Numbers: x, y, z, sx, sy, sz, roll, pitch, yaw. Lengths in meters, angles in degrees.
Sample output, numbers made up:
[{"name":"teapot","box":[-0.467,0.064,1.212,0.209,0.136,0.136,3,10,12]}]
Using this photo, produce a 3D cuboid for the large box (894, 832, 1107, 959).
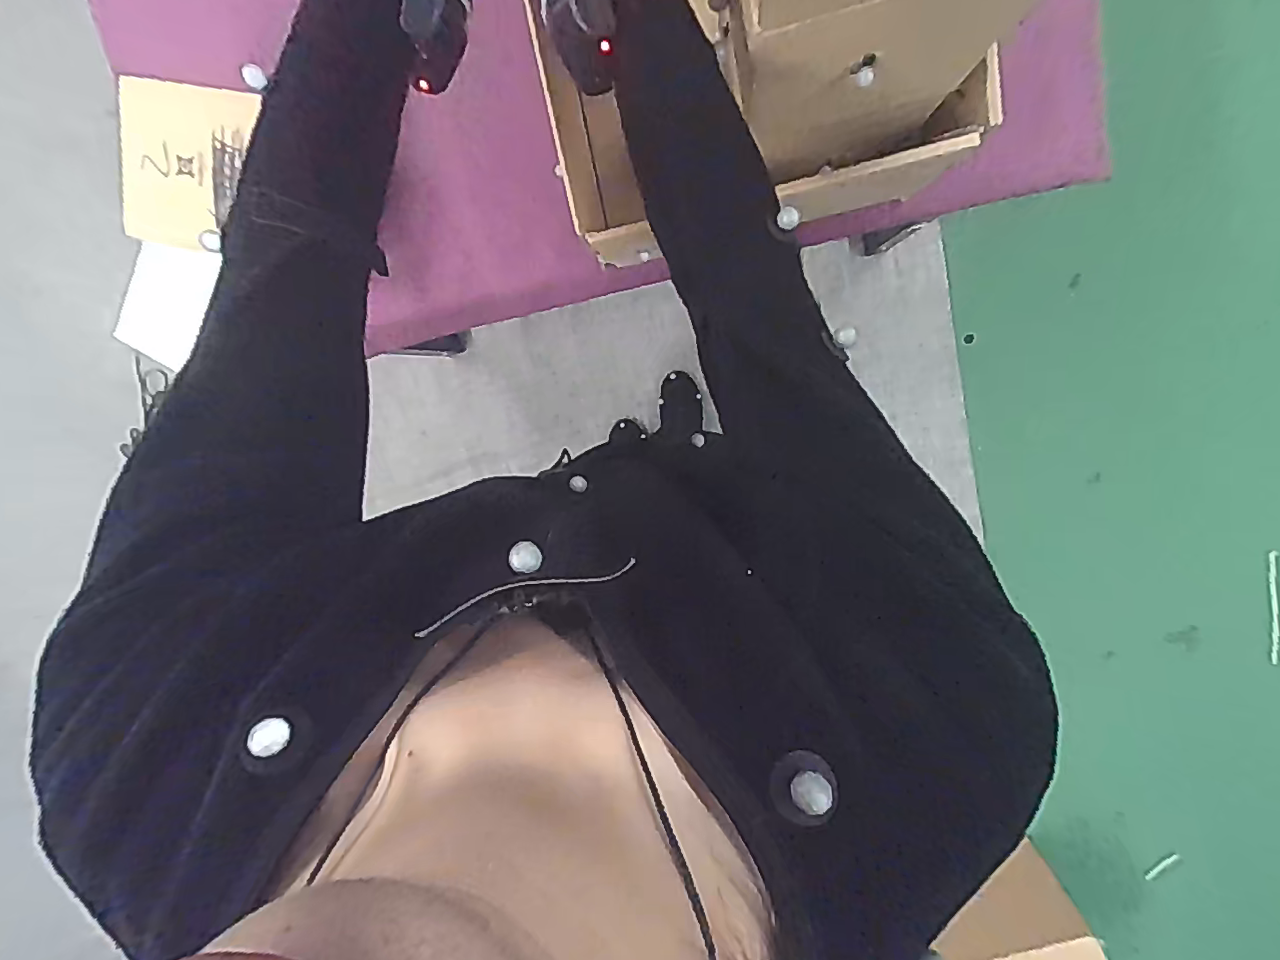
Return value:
[{"name":"large box","box":[1.005,1.280,1.500,0.408,0.320,0.320,-27,98,10]}]

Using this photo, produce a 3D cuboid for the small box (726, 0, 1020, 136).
[{"name":"small box","box":[0.150,-0.371,0.368,0.179,0.176,0.168,-8,100,12]}]
